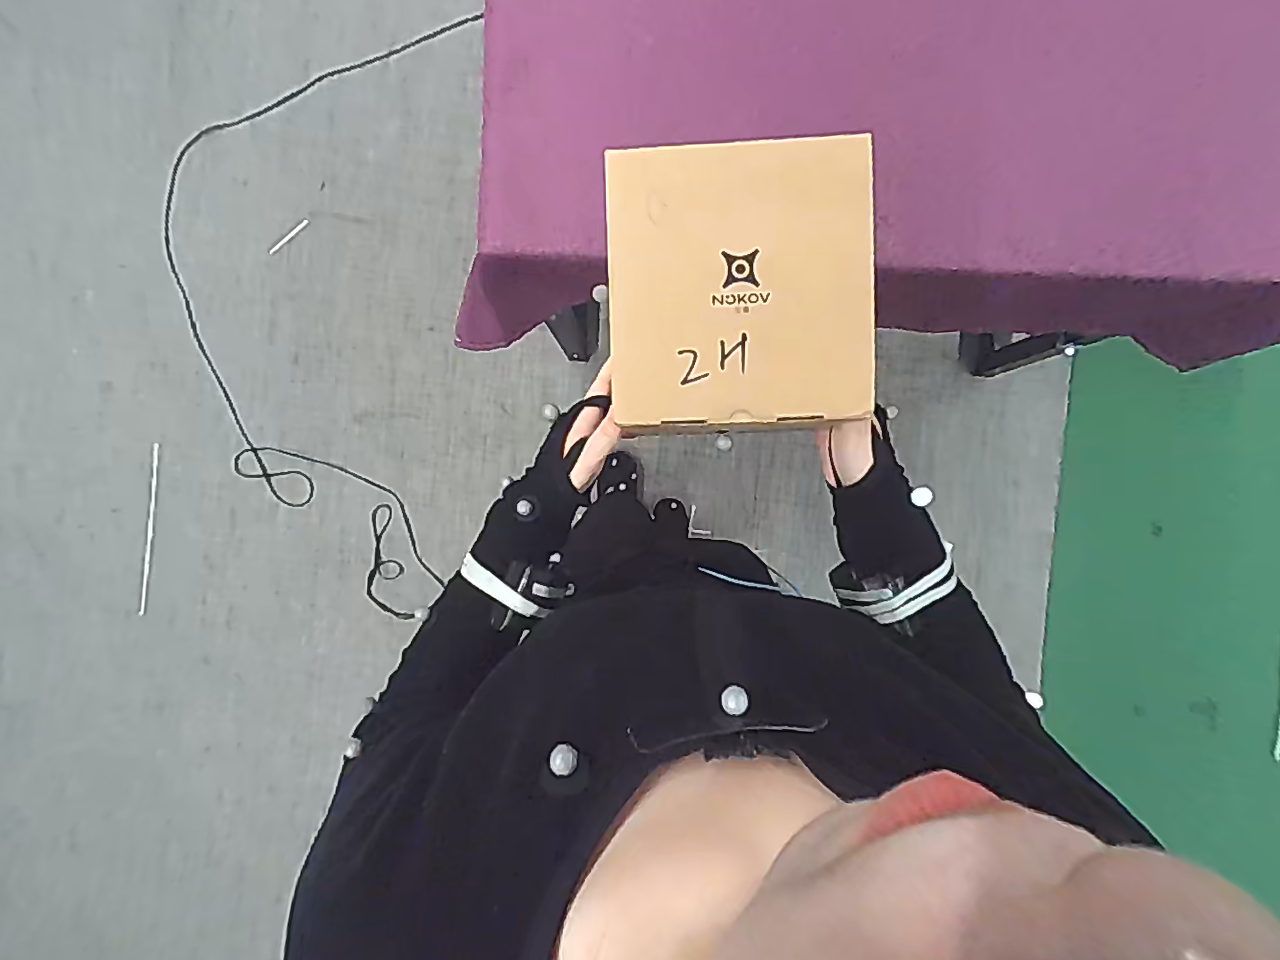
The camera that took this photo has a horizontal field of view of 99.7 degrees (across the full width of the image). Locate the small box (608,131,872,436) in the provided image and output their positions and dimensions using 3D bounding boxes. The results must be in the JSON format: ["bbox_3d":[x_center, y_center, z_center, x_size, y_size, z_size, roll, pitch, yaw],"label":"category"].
[{"bbox_3d":[0.066,-0.129,0.420,0.168,0.176,0.179,-2,91,4],"label":"small box"}]
